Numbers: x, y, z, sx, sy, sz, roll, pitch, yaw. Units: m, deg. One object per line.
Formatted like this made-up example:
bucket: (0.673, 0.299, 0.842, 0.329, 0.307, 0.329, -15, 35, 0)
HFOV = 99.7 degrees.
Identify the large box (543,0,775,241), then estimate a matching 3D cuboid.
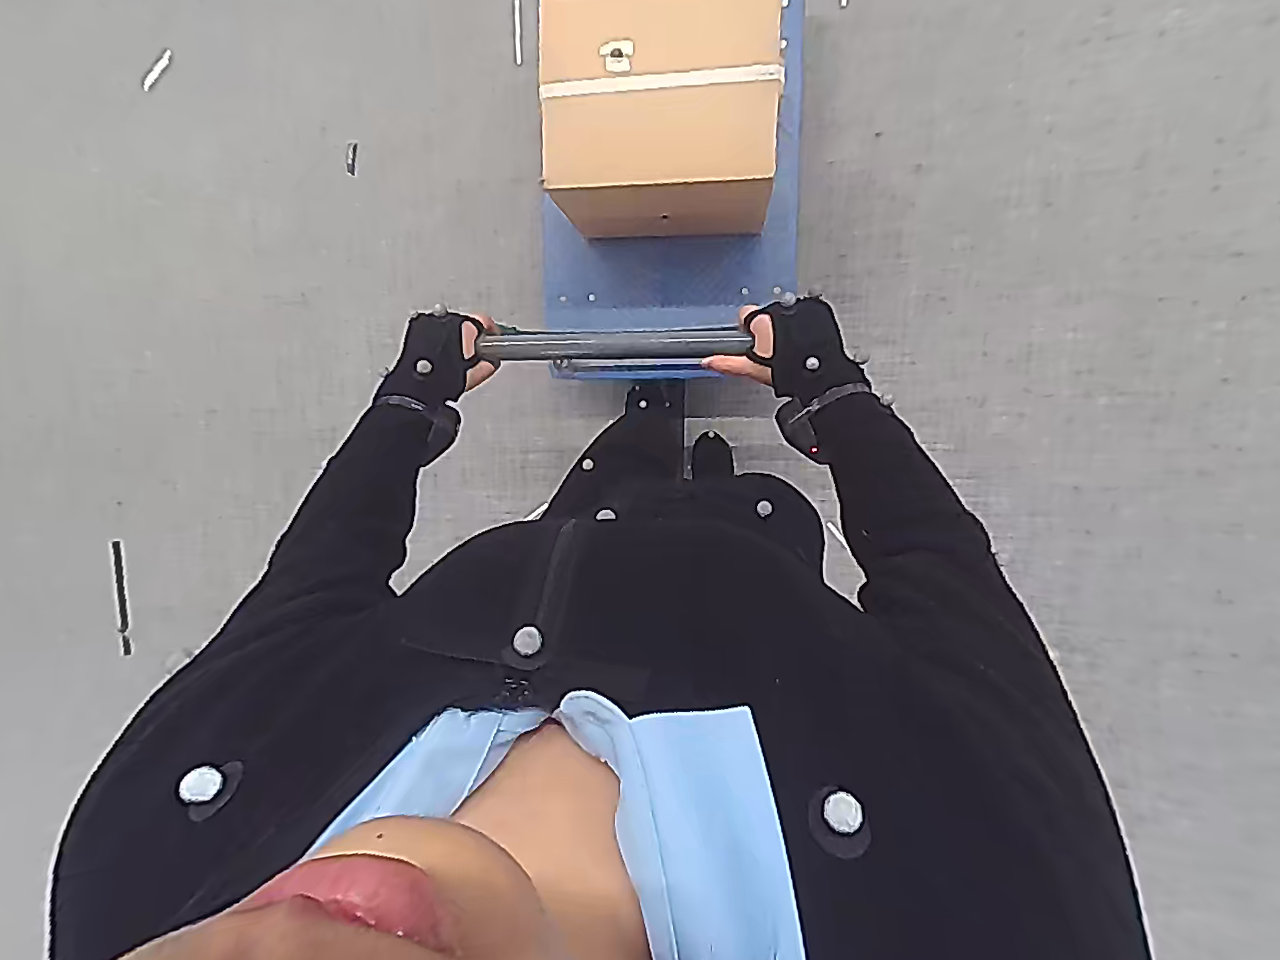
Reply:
large box: (0.053, -0.686, 1.077, 0.408, 0.320, 0.320, 1, 98, 9)
